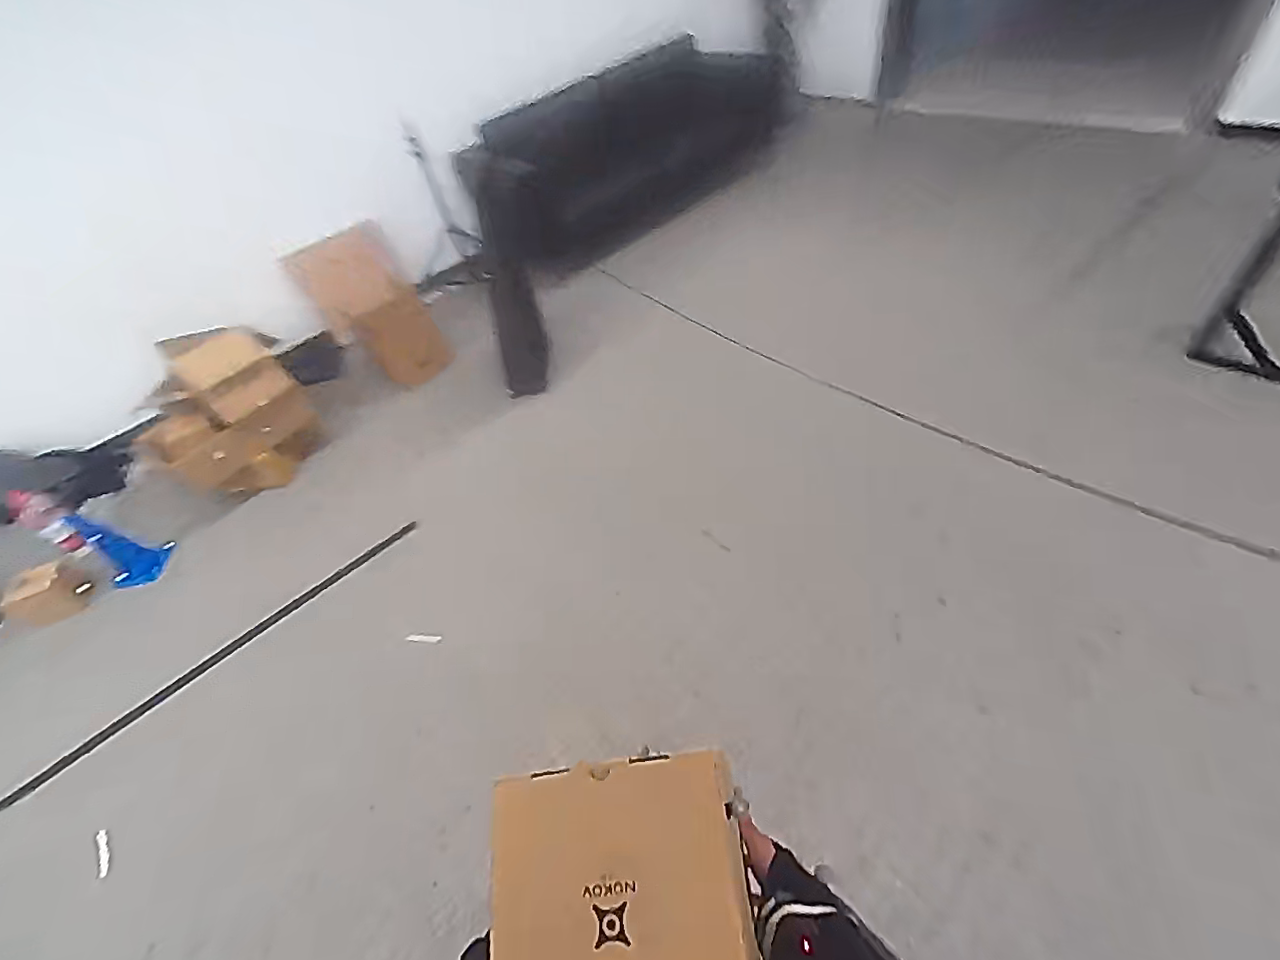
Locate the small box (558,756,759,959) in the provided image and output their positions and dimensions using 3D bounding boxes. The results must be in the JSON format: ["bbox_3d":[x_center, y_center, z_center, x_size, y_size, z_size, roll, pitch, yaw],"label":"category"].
[{"bbox_3d":[0.021,0.391,0.554,0.168,0.176,0.179,-12,62,5],"label":"small box"}]
